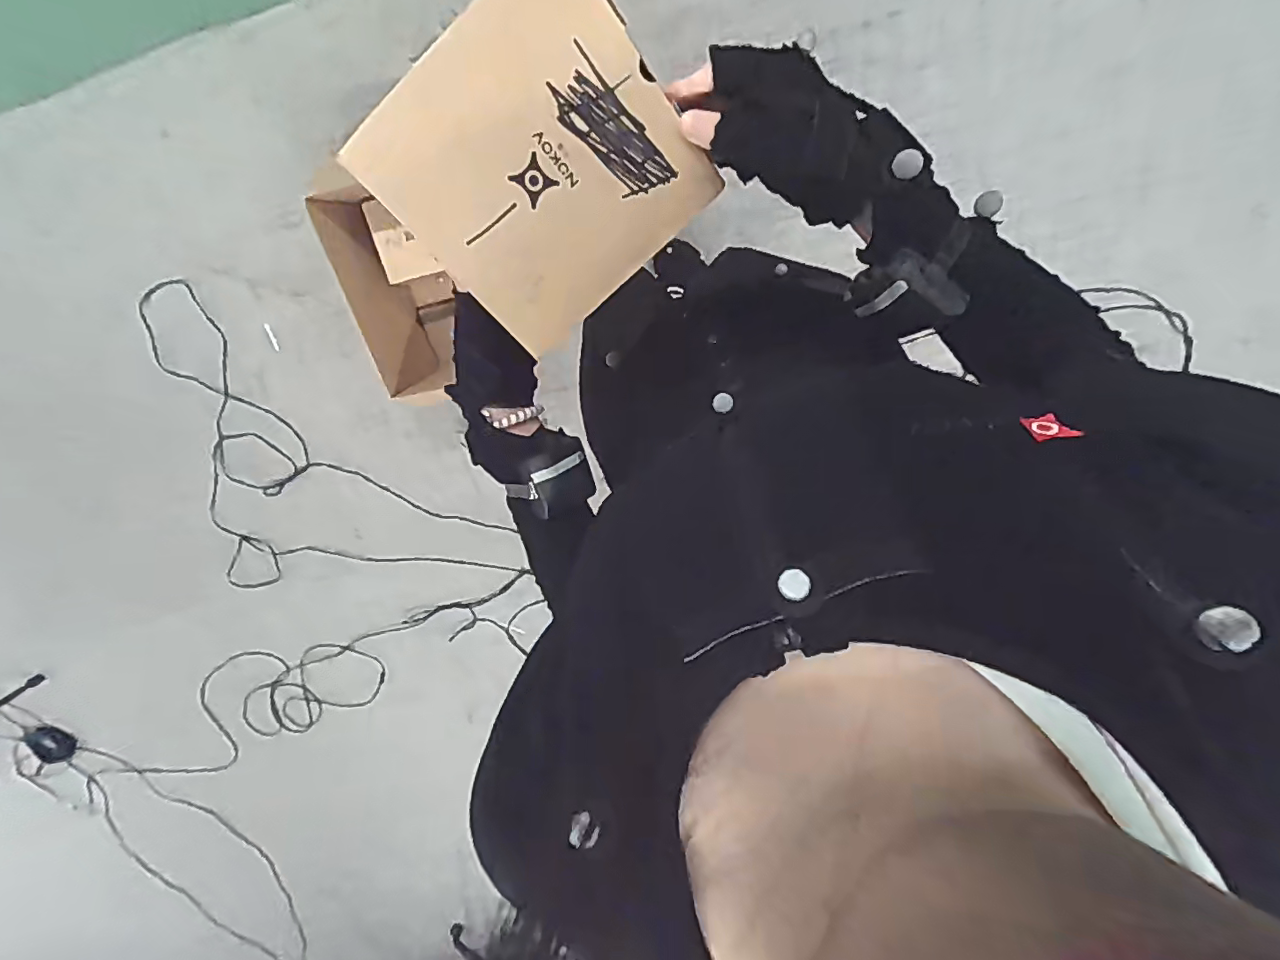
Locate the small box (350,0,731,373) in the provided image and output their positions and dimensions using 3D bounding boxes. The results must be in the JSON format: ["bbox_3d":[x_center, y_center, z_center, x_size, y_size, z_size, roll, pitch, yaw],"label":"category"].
[{"bbox_3d":[-0.069,-0.217,0.398,0.179,0.176,0.168,-39,120,11],"label":"small box"}]
